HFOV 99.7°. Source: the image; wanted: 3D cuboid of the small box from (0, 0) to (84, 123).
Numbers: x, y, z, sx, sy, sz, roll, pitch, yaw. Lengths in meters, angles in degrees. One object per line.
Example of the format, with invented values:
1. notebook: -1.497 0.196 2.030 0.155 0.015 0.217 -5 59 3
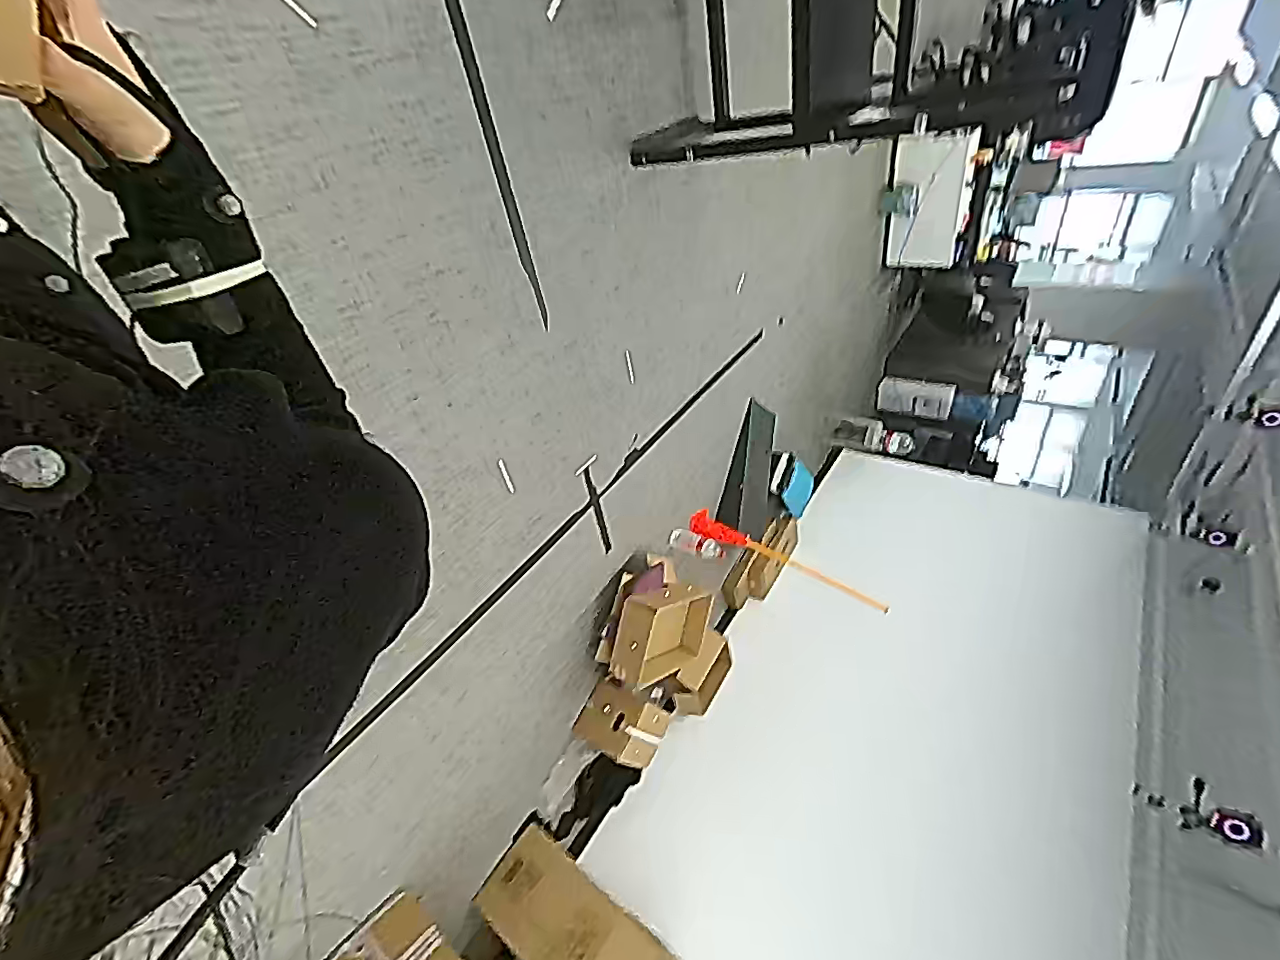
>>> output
1. small box: -0.320 -0.249 0.175 0.168 0.176 0.179 -11 122 -54
